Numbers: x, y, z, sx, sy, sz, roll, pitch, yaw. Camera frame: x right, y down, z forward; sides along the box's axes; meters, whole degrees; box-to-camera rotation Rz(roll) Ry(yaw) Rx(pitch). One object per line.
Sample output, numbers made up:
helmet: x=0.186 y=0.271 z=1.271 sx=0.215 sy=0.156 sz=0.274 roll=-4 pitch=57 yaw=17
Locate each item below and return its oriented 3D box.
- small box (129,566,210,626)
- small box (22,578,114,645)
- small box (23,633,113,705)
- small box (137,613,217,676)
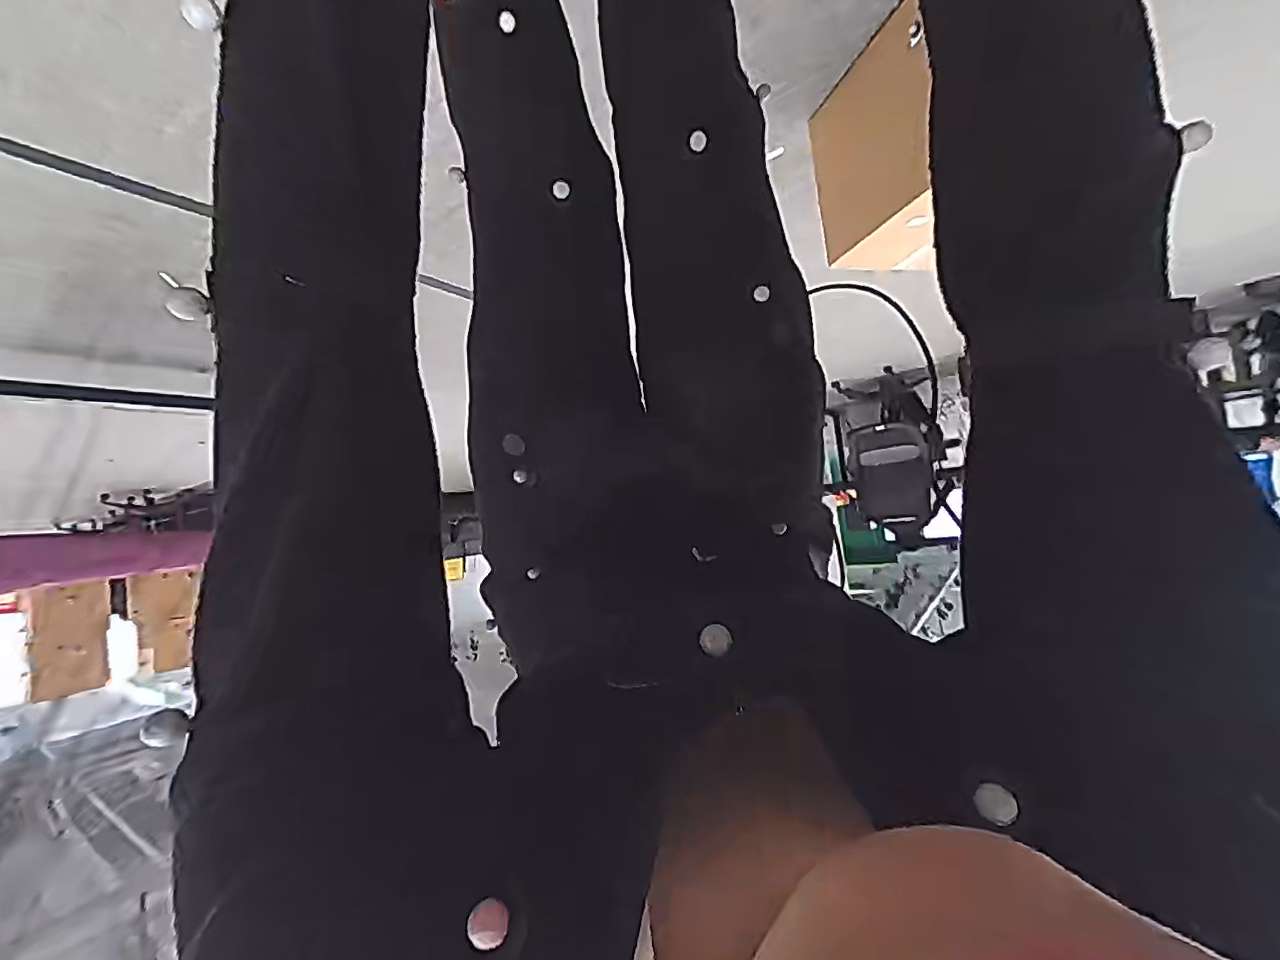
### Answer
small box: x=-1.576 y=0.382 z=1.805 sx=0.179 sy=0.176 sz=0.168 roll=-10 pitch=175 yaw=35
small box: x=-1.724 y=0.391 z=1.627 sx=0.179 sy=0.176 sz=0.168 roll=-11 pitch=176 yaw=34
small box: x=-1.709 y=0.552 z=1.615 sx=0.179 sy=0.176 sz=0.168 roll=-12 pitch=175 yaw=37
small box: x=-1.551 y=0.544 z=1.809 sx=0.179 sy=0.176 sz=0.168 roll=-11 pitch=175 yaw=32
